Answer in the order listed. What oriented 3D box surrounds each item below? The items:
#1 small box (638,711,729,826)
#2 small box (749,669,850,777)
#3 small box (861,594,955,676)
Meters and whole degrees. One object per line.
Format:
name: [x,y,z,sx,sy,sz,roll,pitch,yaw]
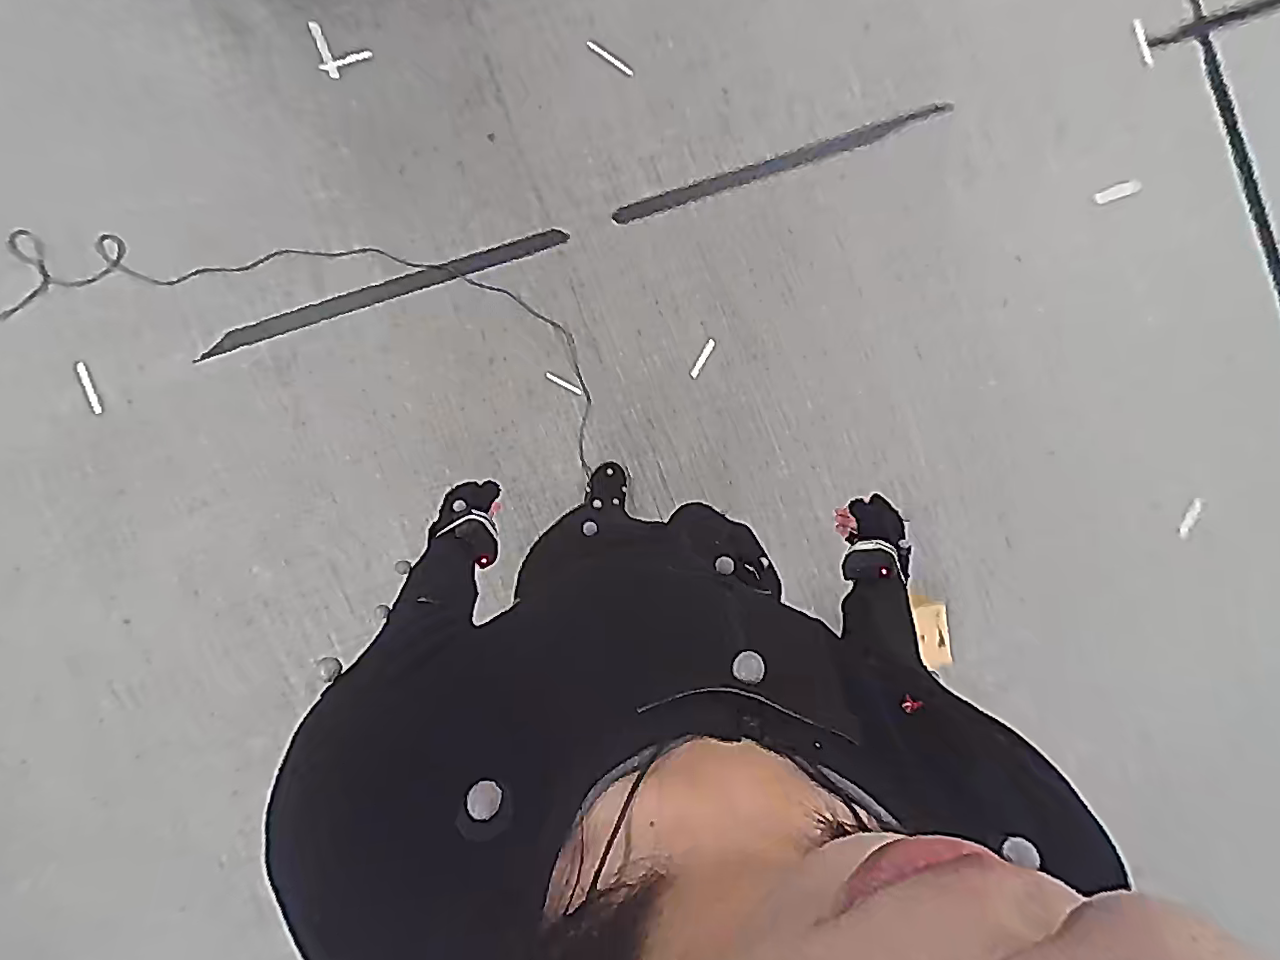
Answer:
small box: [0.107,0.766,1.453,0.179,0.176,0.168,-39,94,-4]
small box: [0.428,0.653,1.474,0.168,0.176,0.179,-40,93,-3]
small box: [0.731,0.423,1.498,0.179,0.176,0.168,-8,91,-4]
